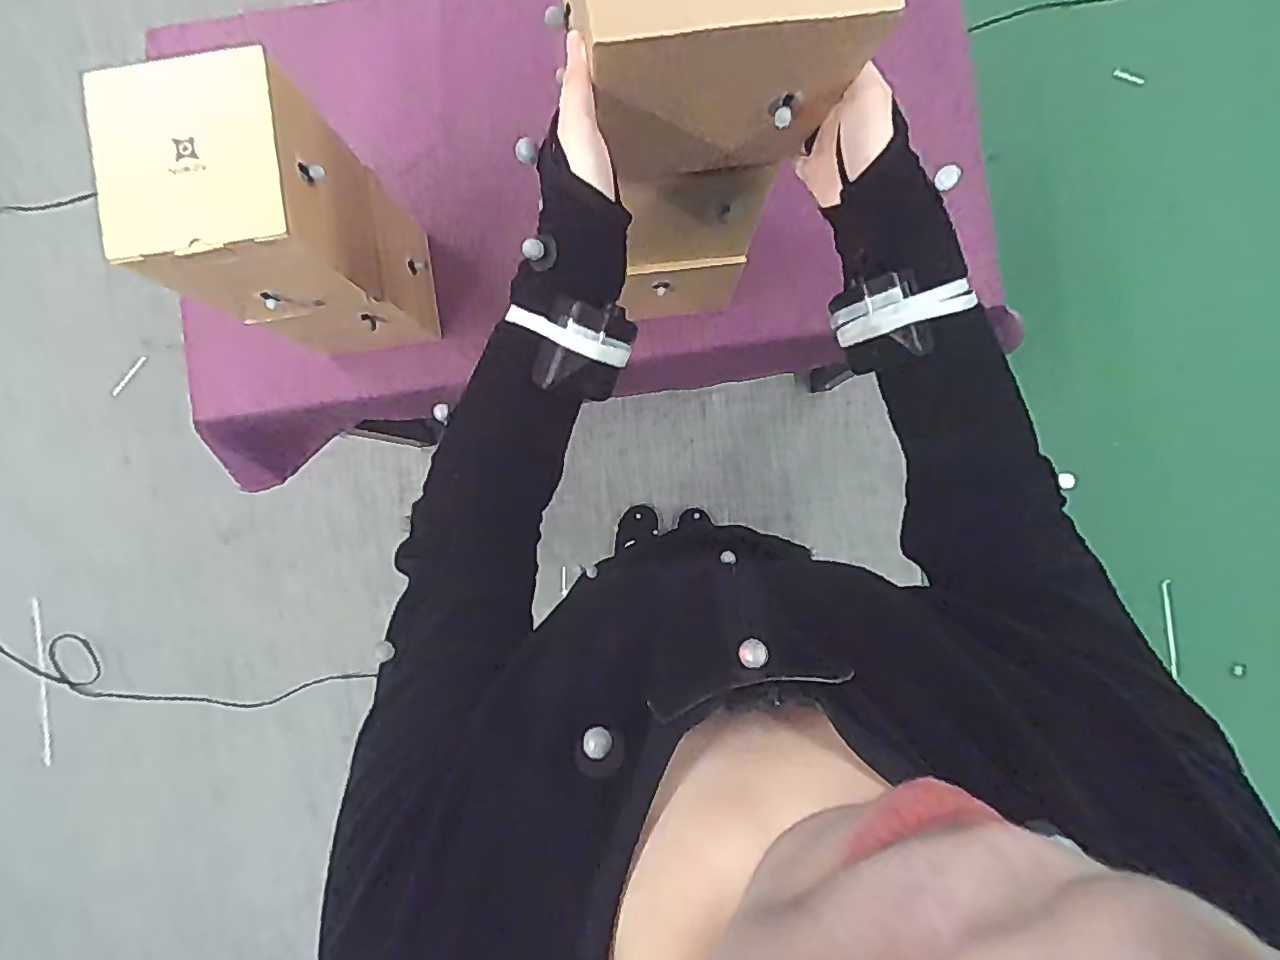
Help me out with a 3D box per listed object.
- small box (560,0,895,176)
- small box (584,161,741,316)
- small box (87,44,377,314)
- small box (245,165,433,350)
[{"bbox_3d":[0.038,-0.329,0.360,0.179,0.176,0.168,-9,97,-4],"label":"small box"},{"bbox_3d":[0.028,-0.327,0.714,0.179,0.176,0.168,-6,89,1],"label":"small box"},{"bbox_3d":[-0.400,-0.292,0.561,0.168,0.176,0.179,-8,90,1],"label":"small box"},{"bbox_3d":[-0.393,-0.284,0.724,0.179,0.176,0.168,-8,88,1],"label":"small box"}]
